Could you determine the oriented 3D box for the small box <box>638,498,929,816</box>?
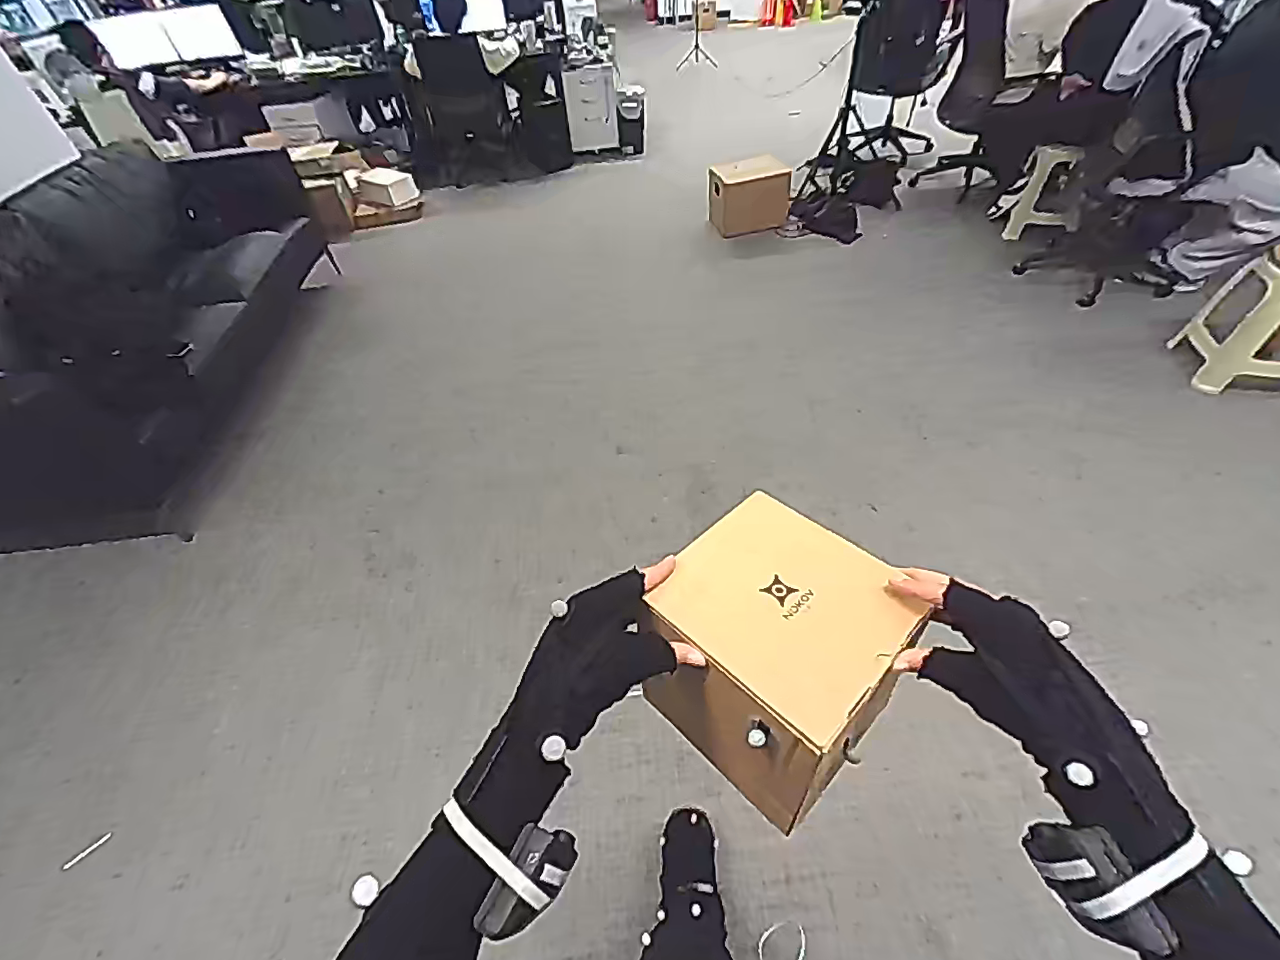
[{"bbox_3d":[0.113,0.154,0.486,0.168,0.176,0.179,-32,50,-30],"label":"small box"}]
